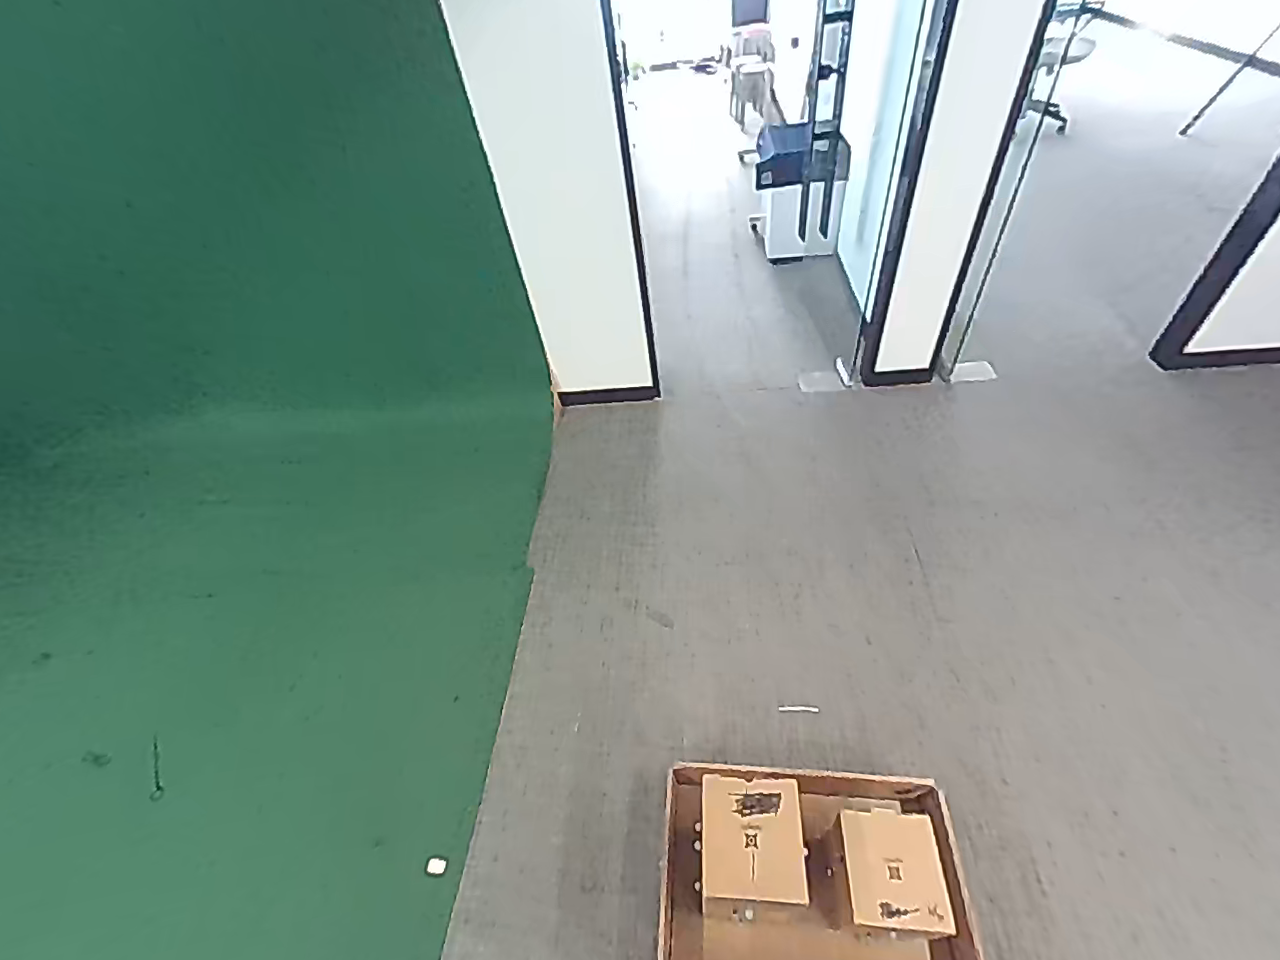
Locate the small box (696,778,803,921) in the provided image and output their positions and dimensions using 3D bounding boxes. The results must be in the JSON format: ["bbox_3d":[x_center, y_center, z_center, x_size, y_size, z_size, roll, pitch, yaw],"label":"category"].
[{"bbox_3d":[0.184,0.646,0.946,0.168,0.176,0.179,0,48,8],"label":"small box"}]

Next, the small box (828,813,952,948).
[{"bbox_3d":[0.458,0.758,1.023,0.168,0.176,0.179,-1,47,10],"label":"small box"}]

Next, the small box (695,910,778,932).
[{"bbox_3d":[0.210,0.867,1.184,0.168,0.176,0.179,0,47,8],"label":"small box"}]

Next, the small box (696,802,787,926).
[{"bbox_3d":[0.197,0.758,1.066,0.168,0.176,0.179,-1,47,8],"label":"small box"}]
